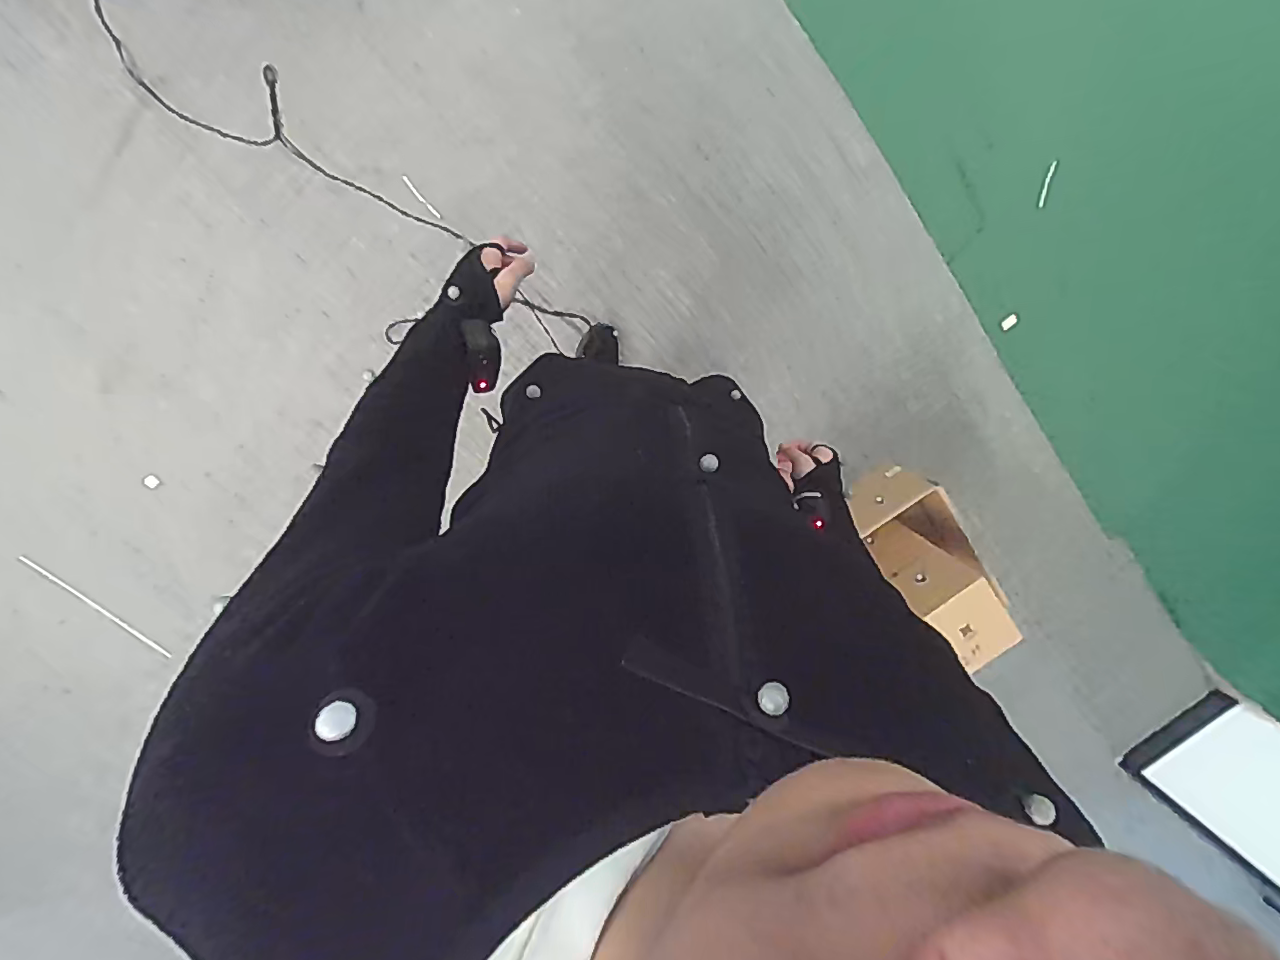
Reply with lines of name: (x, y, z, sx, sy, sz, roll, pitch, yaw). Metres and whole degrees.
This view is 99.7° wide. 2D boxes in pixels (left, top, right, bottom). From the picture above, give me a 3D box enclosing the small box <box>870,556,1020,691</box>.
small box: (0.602, 0.276, 1.092, 0.168, 0.176, 0.179, -37, 105, 6)
